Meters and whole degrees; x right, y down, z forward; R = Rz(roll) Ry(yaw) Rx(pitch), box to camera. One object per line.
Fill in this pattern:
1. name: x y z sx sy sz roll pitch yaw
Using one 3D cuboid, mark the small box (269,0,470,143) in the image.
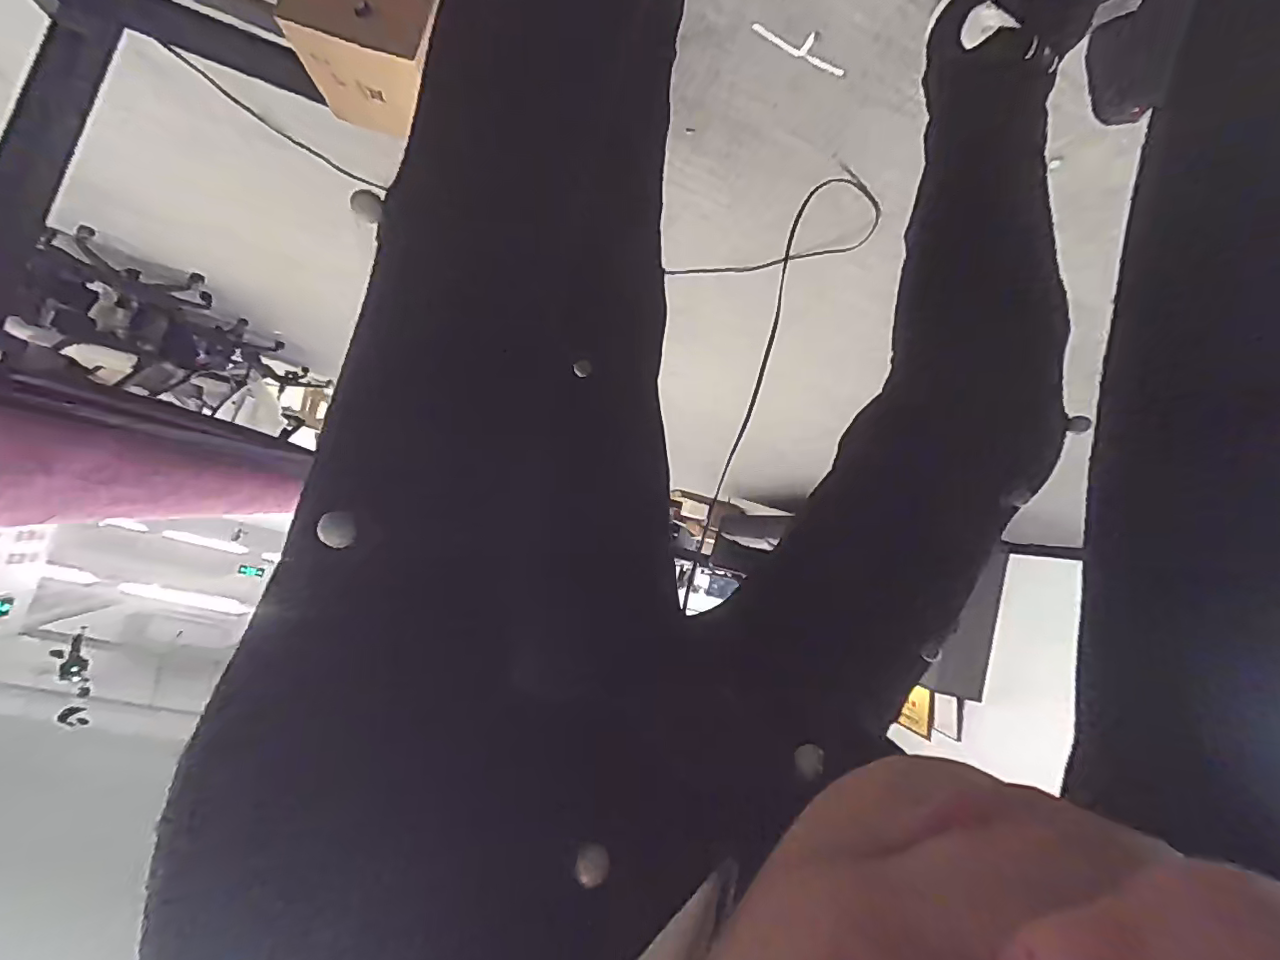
1. small box: -0.340 -0.604 0.720 0.179 0.176 0.168 16 174 -5
